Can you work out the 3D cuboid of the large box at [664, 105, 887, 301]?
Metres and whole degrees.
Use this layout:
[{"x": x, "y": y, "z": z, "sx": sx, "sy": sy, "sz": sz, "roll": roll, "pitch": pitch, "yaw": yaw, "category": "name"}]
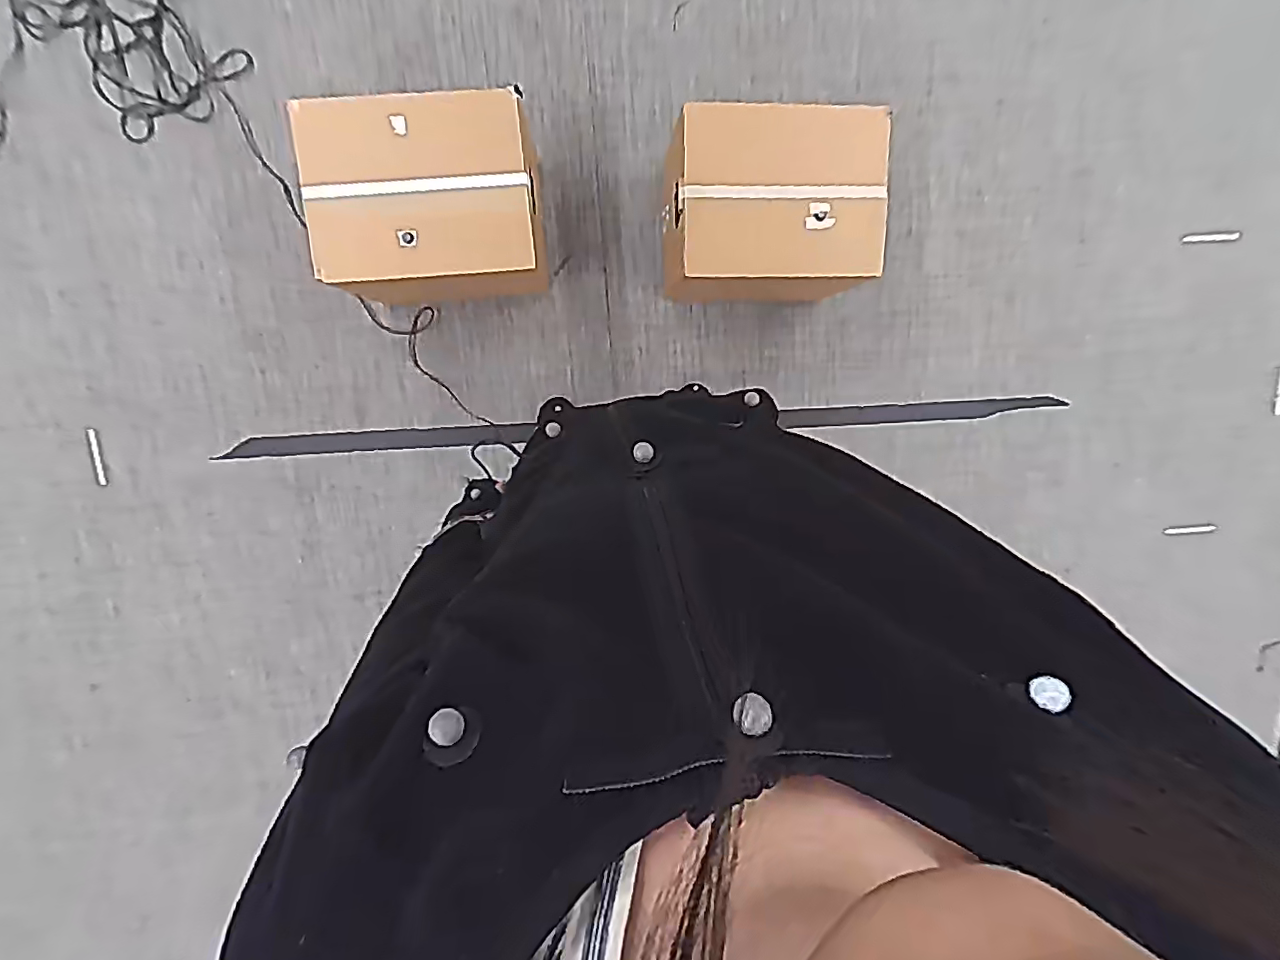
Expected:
[{"x": 0.272, "y": -0.584, "z": 1.201, "sx": 0.408, "sy": 0.320, "sz": 0.320, "roll": -2, "pitch": 100, "yaw": -5, "category": "large box"}]
